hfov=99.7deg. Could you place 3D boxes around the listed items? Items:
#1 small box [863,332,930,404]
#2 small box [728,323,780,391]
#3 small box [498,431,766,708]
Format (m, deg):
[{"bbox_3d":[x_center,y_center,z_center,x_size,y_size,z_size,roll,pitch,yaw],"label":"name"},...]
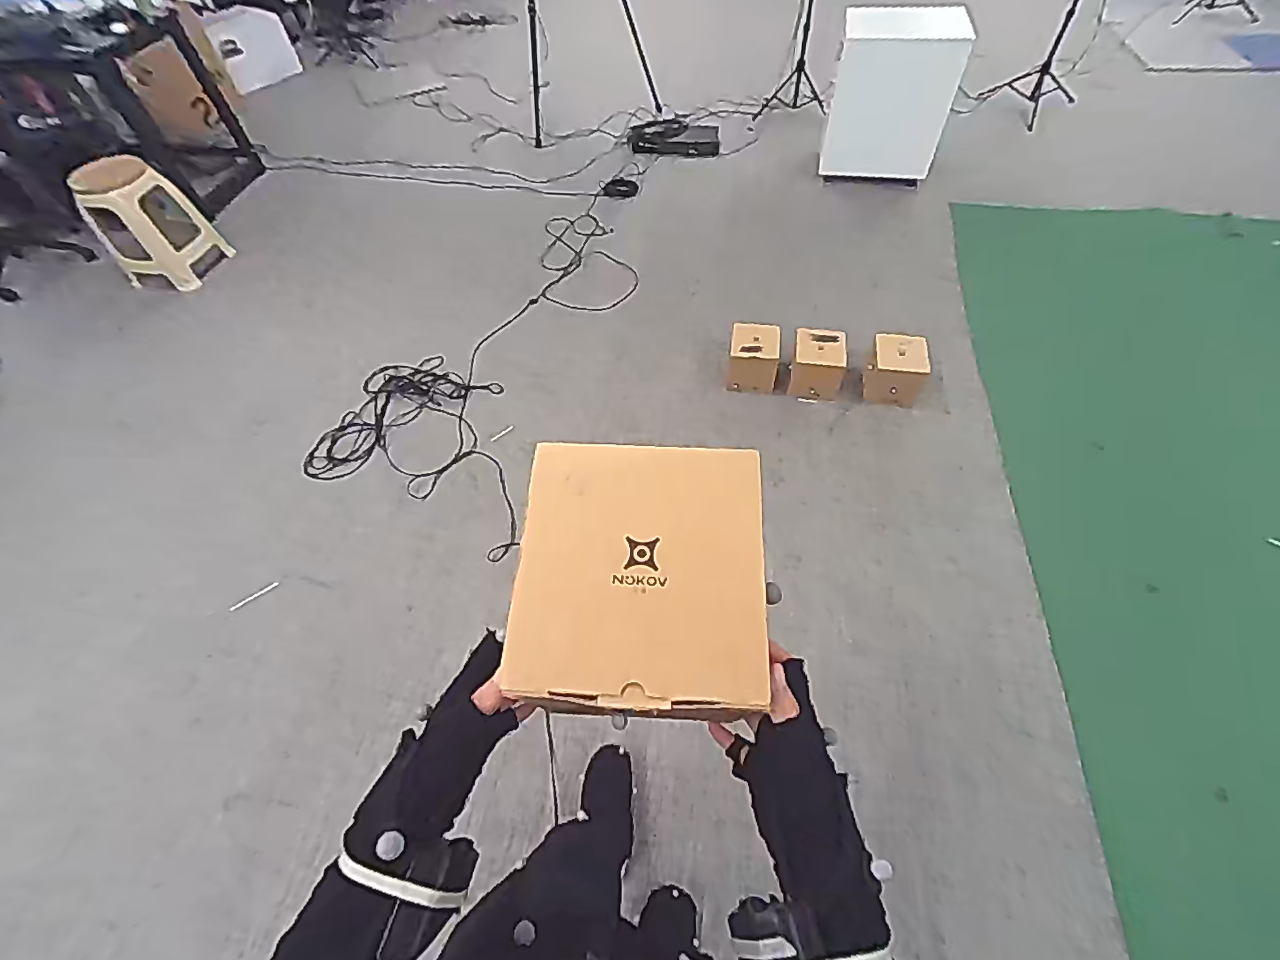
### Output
[{"bbox_3d":[0.878,-0.383,1.868,0.168,0.176,0.179,7,56,8],"label":"small box"},{"bbox_3d":[0.406,-0.439,1.940,0.168,0.176,0.179,6,55,9],"label":"small box"},{"bbox_3d":[0.000,0.079,0.432,0.168,0.176,0.179,2,65,2],"label":"small box"}]
